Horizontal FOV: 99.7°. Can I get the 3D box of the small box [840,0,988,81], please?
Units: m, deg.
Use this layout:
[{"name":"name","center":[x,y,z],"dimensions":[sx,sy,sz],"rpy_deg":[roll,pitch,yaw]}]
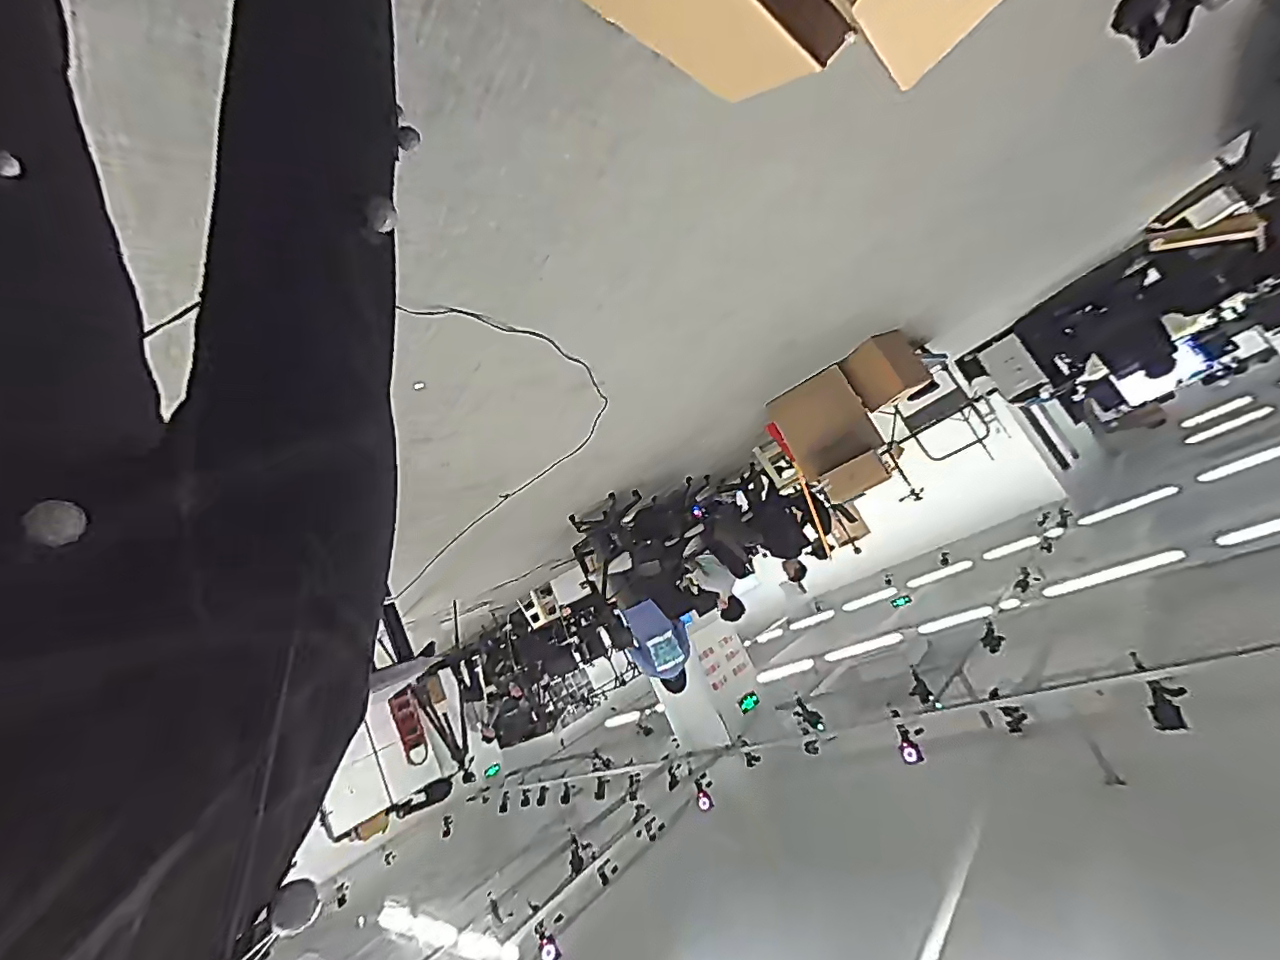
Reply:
[{"name":"small box","center":[0.263,-0.554,0.524],"dimensions":[0.179,0.176,0.168],"rpy_deg":[-11,161,-48]}]
